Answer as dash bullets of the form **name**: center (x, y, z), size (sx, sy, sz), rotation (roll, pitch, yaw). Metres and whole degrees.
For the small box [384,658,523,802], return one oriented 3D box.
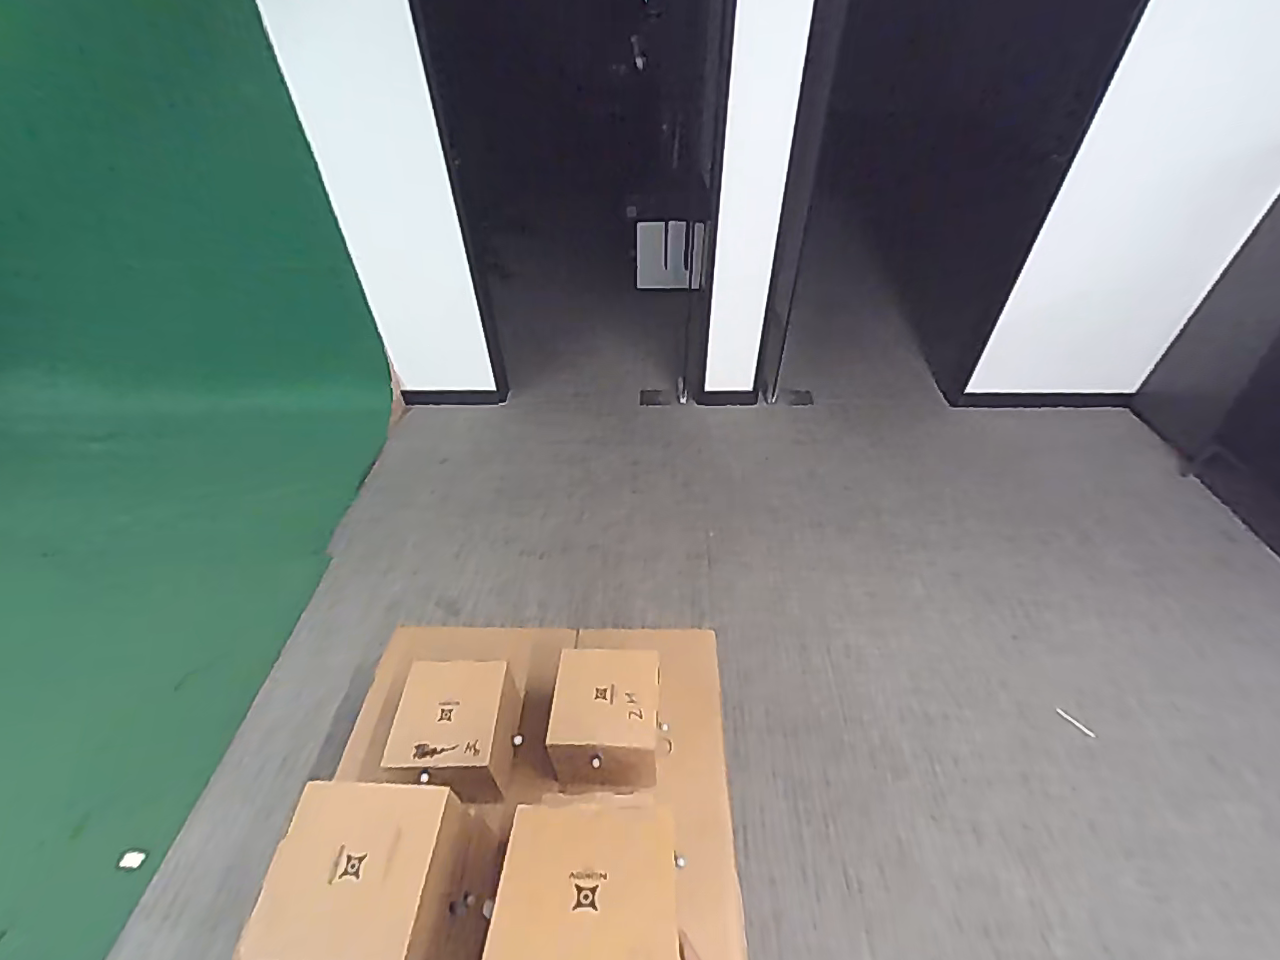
- **small box**: center (-0.304, 0.428, 0.929), size (0.168, 0.176, 0.179), rotation (-2, 42, 2)

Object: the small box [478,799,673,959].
- **small box**: center (-0.051, 0.450, 0.528), size (0.168, 0.176, 0.179), rotation (0, 20, 0)

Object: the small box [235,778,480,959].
- **small box**: center (-0.312, 0.474, 0.643), size (0.179, 0.176, 0.168), rotation (2, 45, 2)
